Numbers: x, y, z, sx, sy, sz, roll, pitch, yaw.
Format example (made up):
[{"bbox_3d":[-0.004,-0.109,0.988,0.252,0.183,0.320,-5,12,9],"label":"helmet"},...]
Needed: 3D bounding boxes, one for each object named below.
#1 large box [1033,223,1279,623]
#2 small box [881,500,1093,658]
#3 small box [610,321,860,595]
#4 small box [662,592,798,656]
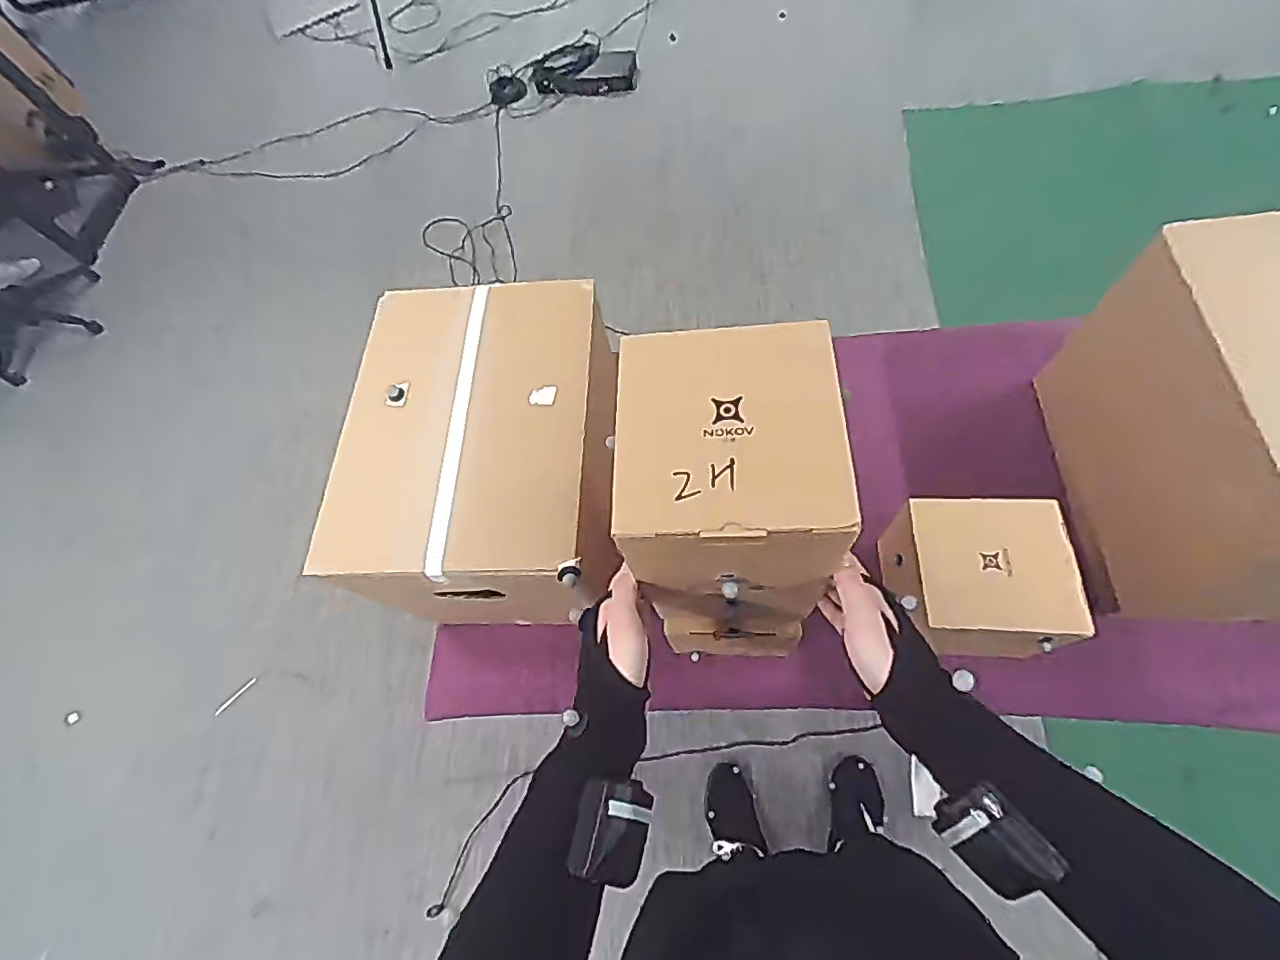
[{"bbox_3d":[0.774,-0.052,0.670,0.320,0.320,0.408,-1,66,9],"label":"large box"},{"bbox_3d":[0.430,0.135,0.711,0.179,0.176,0.168,0,64,9],"label":"small box"},{"bbox_3d":[0.074,-0.009,0.462,0.168,0.176,0.179,-2,65,9],"label":"small box"},{"bbox_3d":[0.122,0.143,0.751,0.168,0.176,0.179,-1,63,8],"label":"small box"}]
